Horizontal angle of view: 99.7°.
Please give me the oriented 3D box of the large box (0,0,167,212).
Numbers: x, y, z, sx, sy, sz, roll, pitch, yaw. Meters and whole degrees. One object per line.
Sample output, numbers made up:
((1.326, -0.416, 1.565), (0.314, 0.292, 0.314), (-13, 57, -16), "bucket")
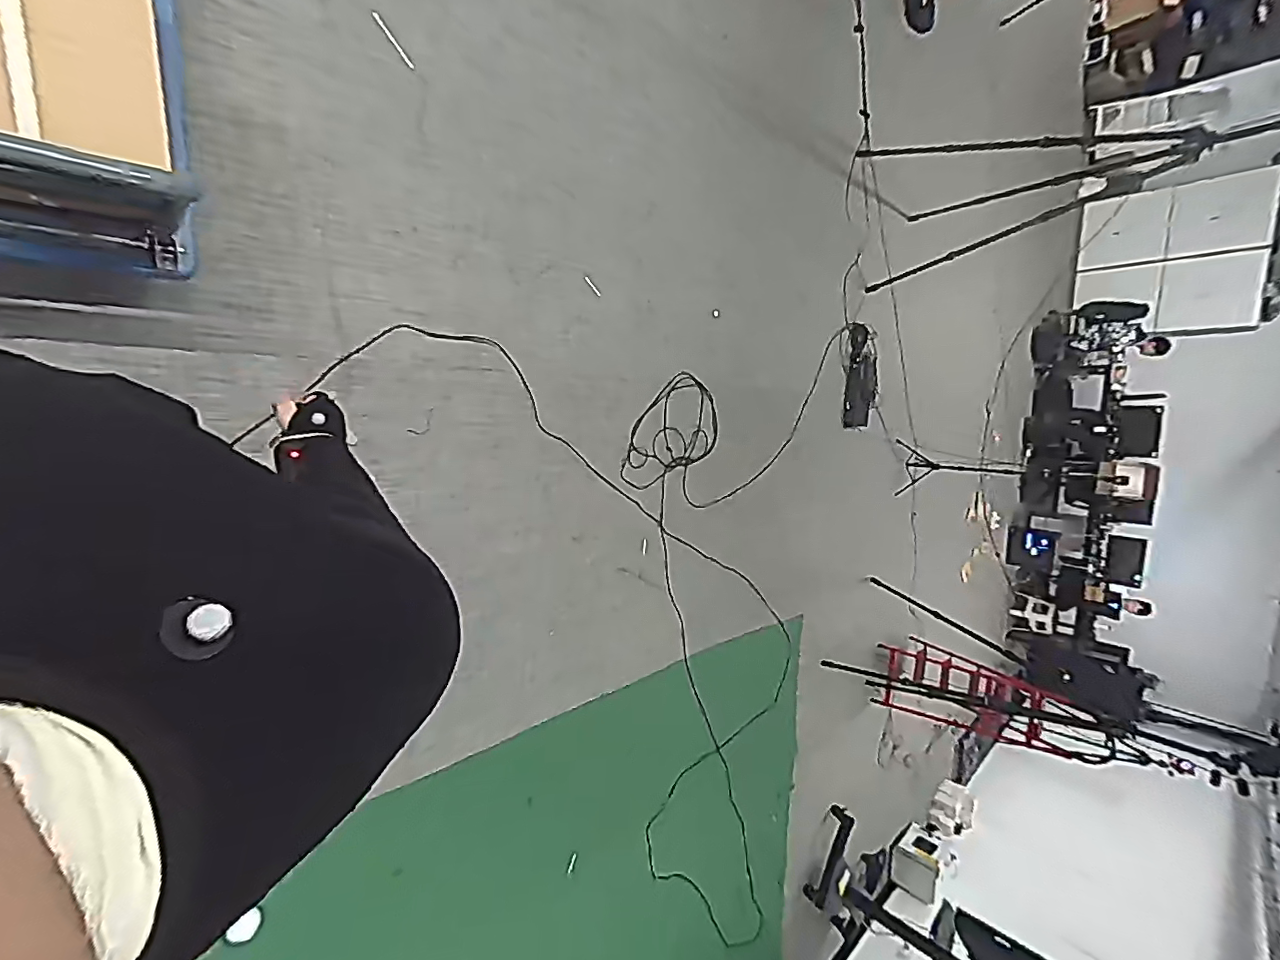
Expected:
((-0.972, -0.690, 0.839), (0.320, 0.320, 0.408), (-9, 102, -43), "large box")
